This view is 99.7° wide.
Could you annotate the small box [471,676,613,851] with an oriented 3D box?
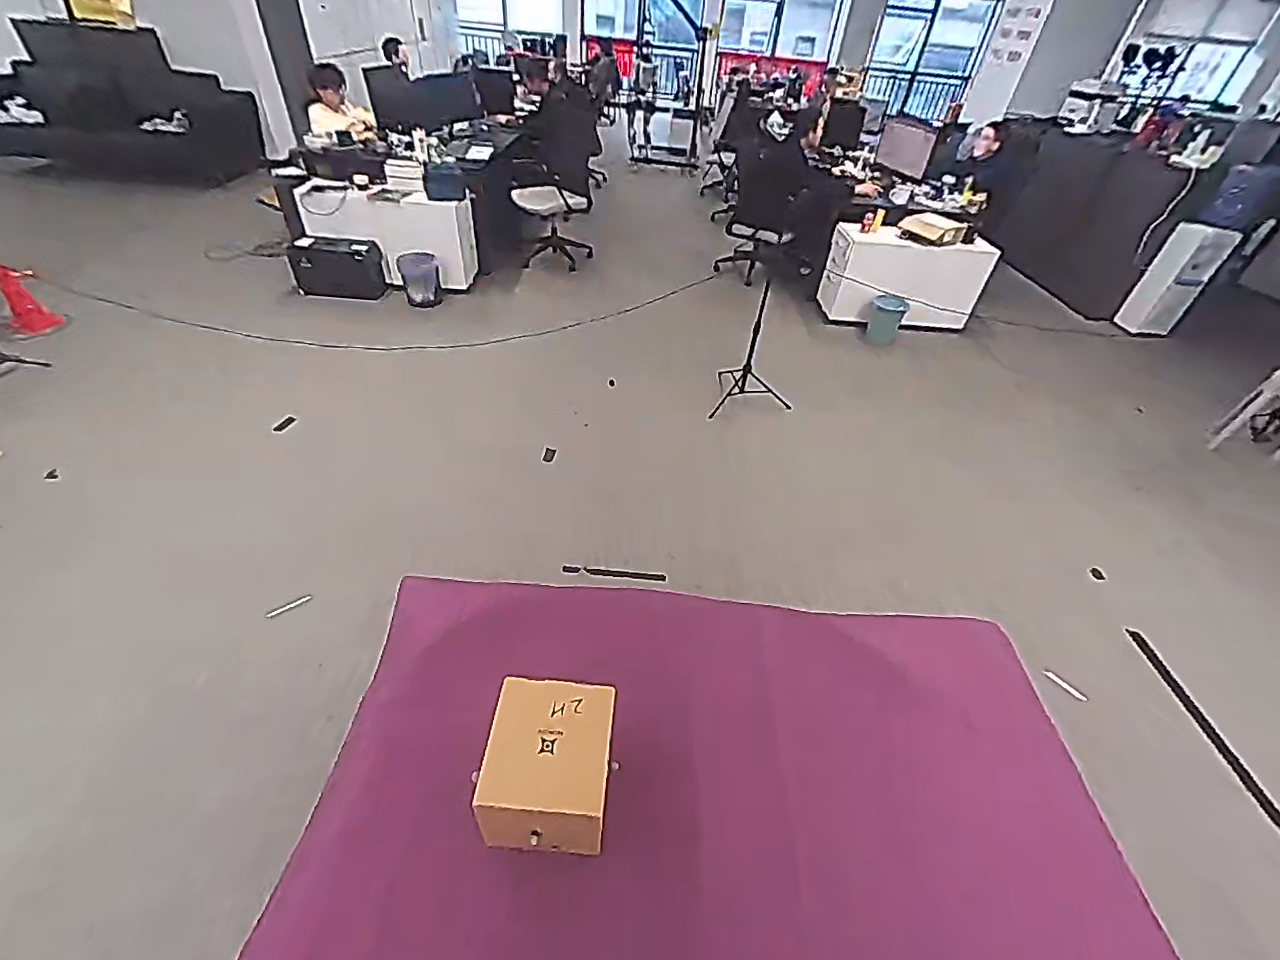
[{"bbox_3d":[-0.132,0.418,0.793,0.168,0.176,0.179,7,41,0],"label":"small box"}]
